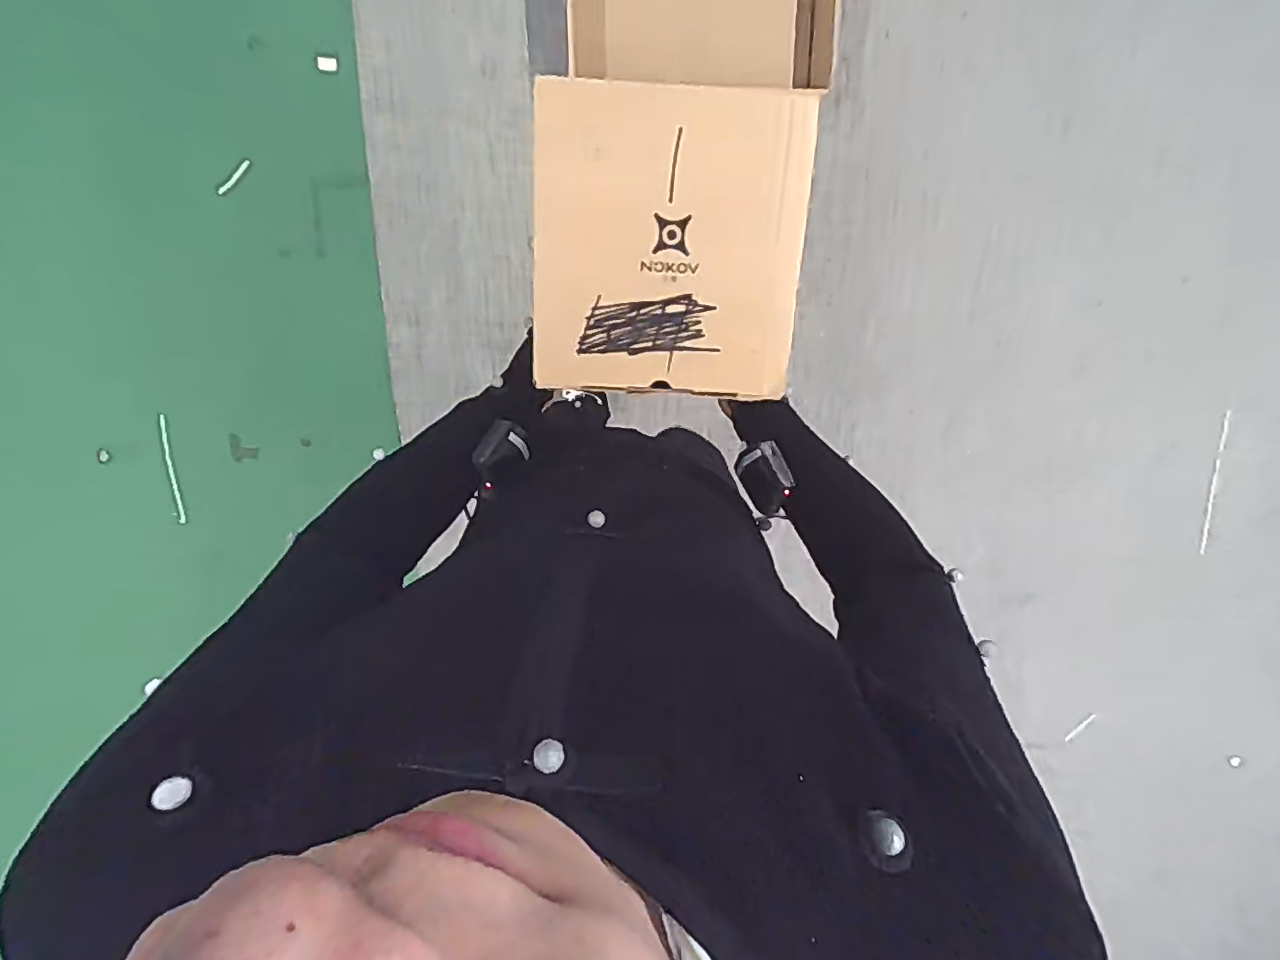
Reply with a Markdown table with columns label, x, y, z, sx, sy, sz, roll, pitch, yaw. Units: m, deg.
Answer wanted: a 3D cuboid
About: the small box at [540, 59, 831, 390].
| label | x | y | z | sx | sy | sz | roll | pitch | yaw |
| --- | --- | --- | --- | --- | --- | --- | --- | --- | --- |
| small box | 0.021 | -0.168 | 0.402 | 0.168 | 0.176 | 0.179 | 2 | 106 | -3 |
